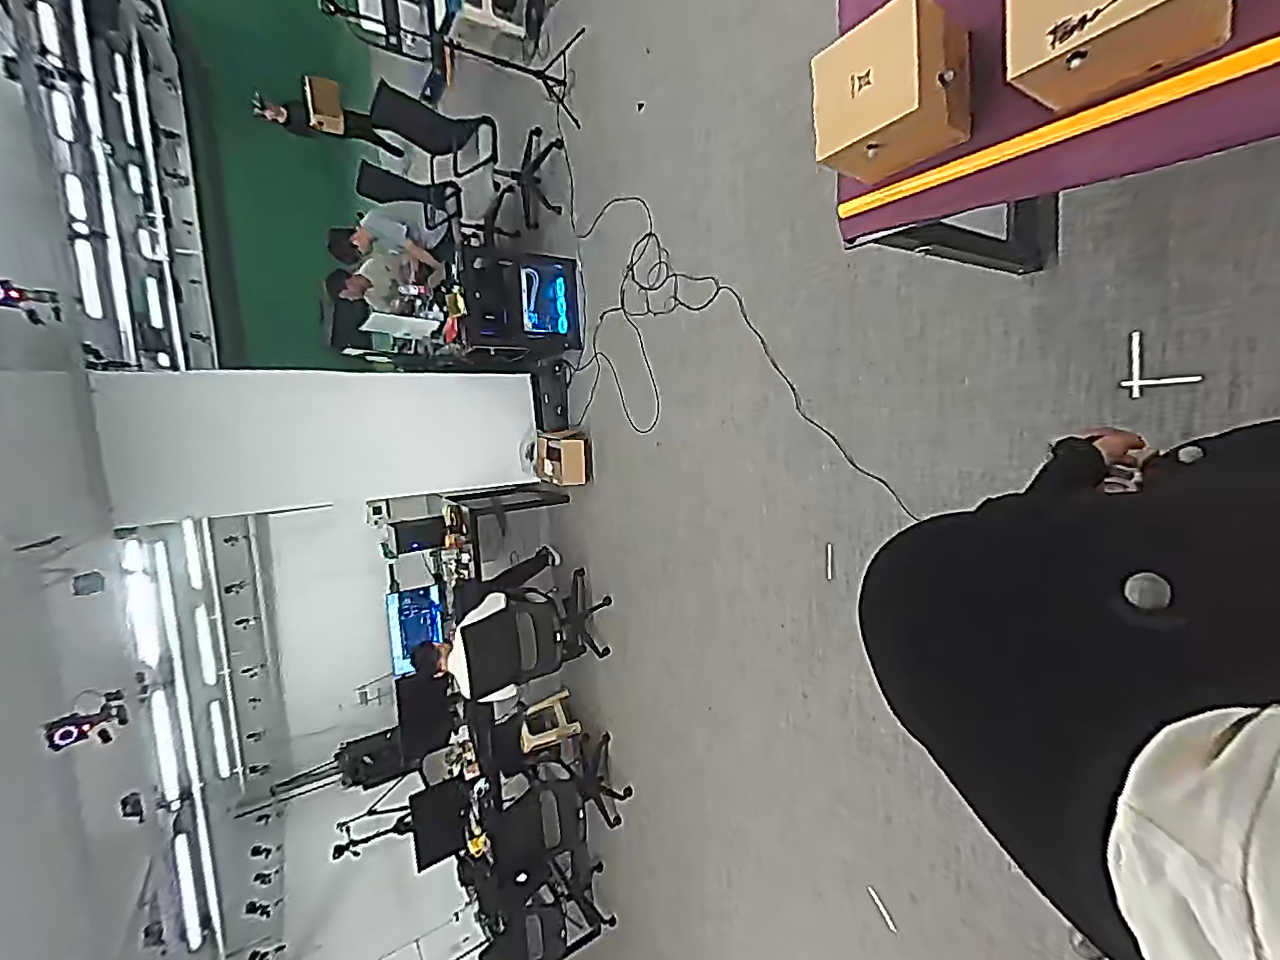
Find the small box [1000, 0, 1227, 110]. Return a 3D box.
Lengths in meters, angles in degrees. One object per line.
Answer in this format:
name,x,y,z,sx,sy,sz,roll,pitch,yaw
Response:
small box,0.552,-0.580,0.631,0.168,0.176,0.179,7,101,57

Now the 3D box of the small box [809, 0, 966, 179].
small box,0.397,-0.611,0.863,0.179,0.176,0.168,3,99,56
